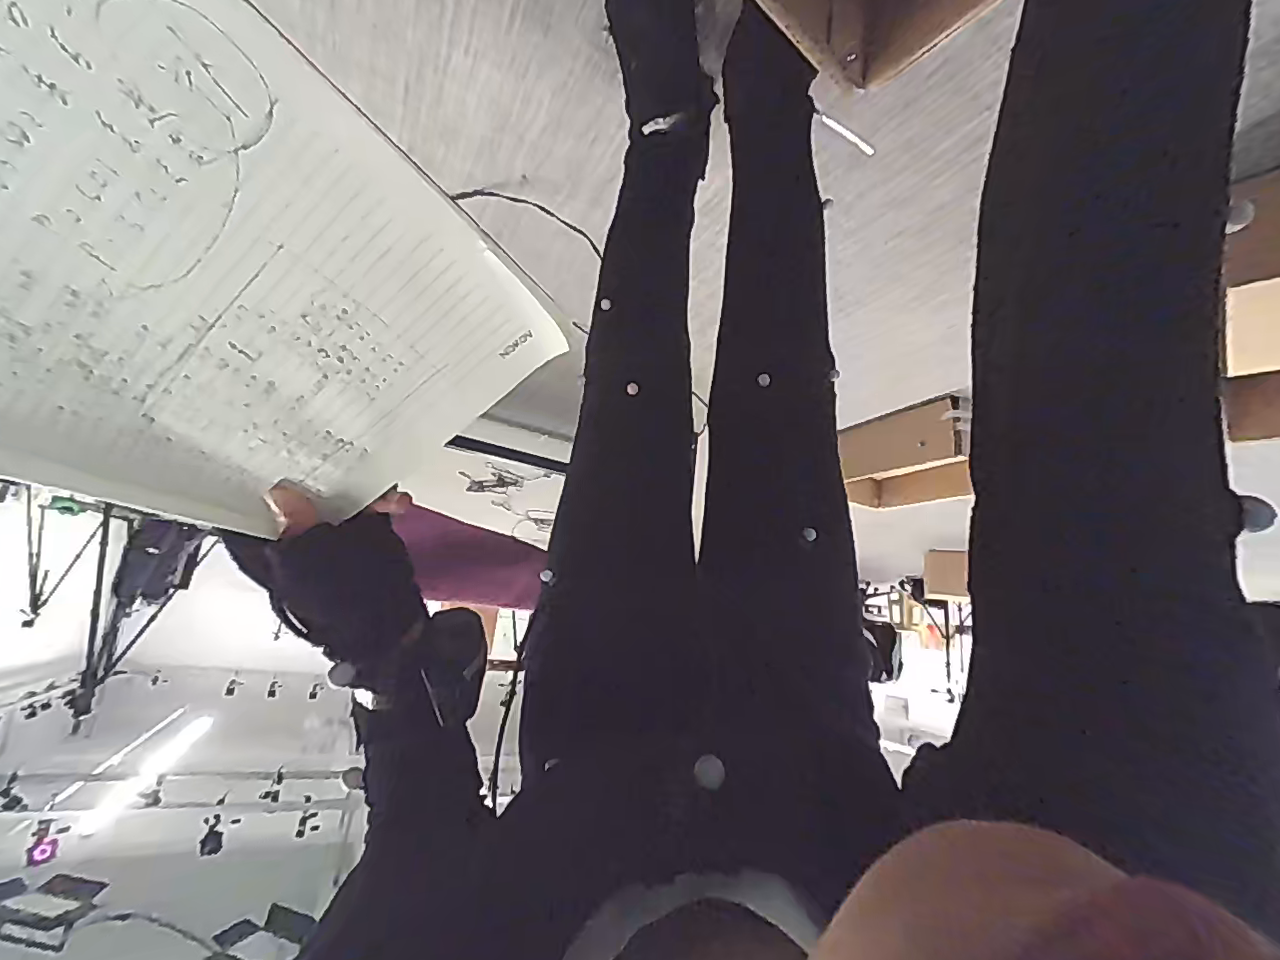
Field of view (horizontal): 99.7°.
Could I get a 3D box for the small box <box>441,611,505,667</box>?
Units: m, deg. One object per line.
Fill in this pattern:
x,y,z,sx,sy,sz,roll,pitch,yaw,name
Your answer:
-0.573,0.542,1.857,0.168,0.176,0.179,14,163,-26,small box
